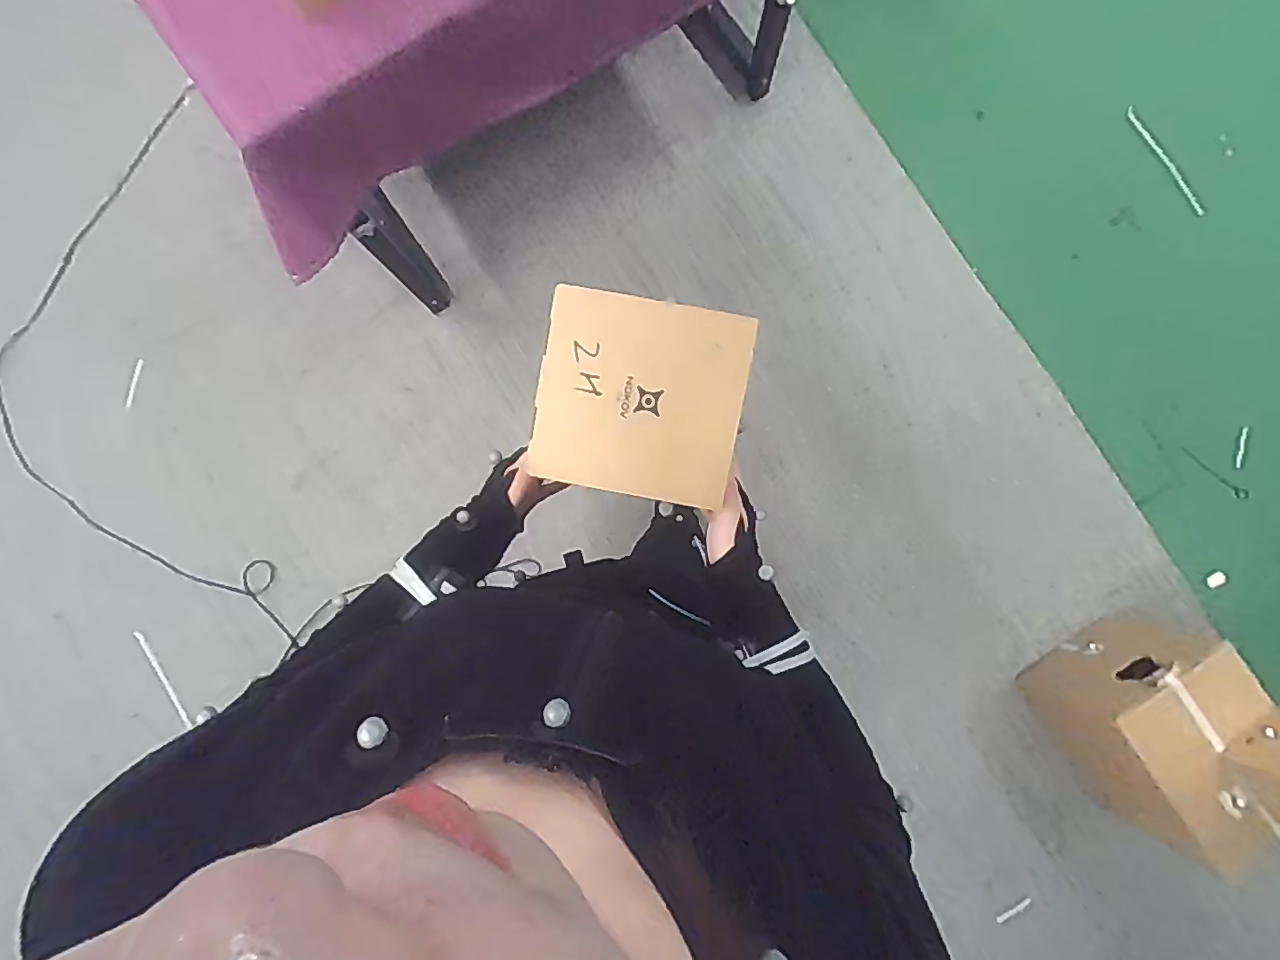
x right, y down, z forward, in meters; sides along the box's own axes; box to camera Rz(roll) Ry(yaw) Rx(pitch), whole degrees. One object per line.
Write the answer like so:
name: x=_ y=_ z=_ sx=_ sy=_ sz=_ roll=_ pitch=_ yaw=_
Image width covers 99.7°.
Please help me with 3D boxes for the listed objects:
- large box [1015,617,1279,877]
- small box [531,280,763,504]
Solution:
large box: x=1.237 y=0.604 z=1.304 sx=0.320 sy=0.320 sz=0.408 roll=-32 pitch=87 yaw=-3
small box: x=0.008 y=-0.081 z=0.541 sx=0.179 sy=0.176 sz=0.168 roll=11 pitch=95 yaw=3
